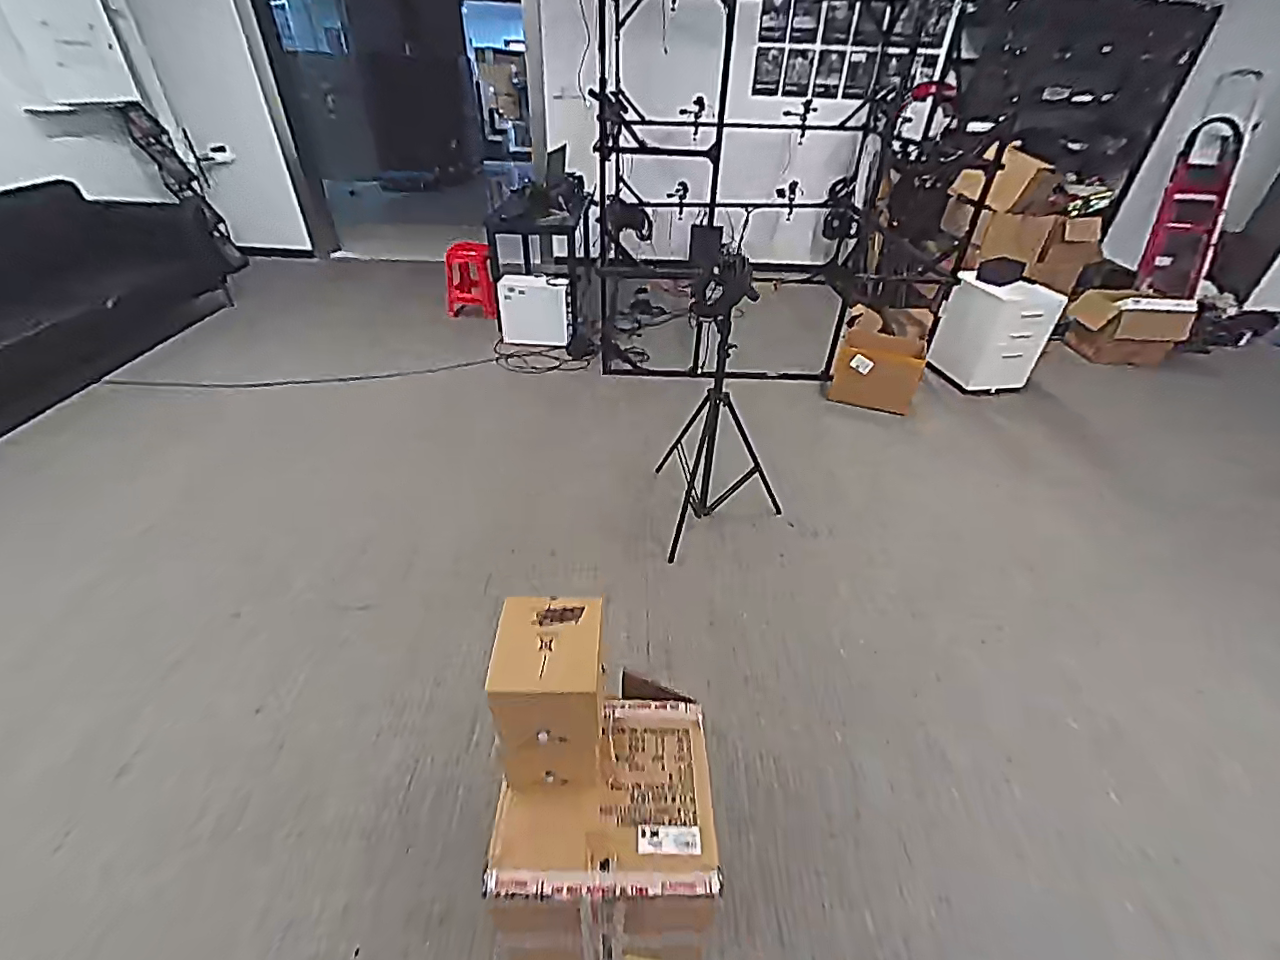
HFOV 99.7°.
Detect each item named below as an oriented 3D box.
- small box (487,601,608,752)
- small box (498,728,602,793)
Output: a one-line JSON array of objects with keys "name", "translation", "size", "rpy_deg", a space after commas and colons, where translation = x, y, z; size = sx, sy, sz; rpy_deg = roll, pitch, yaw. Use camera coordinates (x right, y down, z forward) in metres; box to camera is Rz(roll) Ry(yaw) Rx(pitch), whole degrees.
[{"name": "small box", "translation": [-0.140, 0.321, 0.891], "size": [0.168, 0.176, 0.179], "rpy_deg": [0, 39, 0]}, {"name": "small box", "translation": [-0.156, 0.447, 0.996], "size": [0.168, 0.176, 0.179], "rpy_deg": [-3, 39, -3]}]
